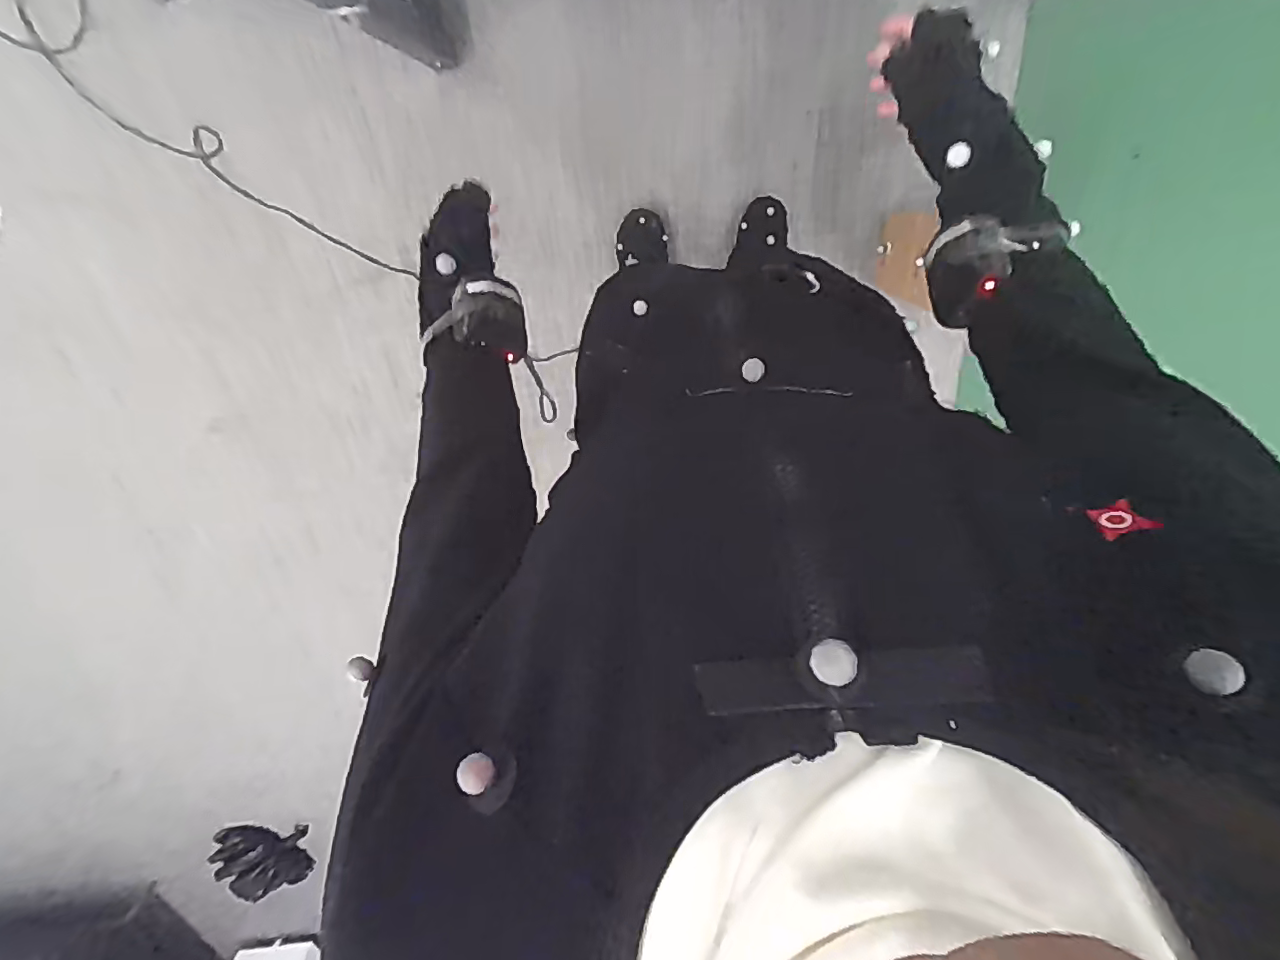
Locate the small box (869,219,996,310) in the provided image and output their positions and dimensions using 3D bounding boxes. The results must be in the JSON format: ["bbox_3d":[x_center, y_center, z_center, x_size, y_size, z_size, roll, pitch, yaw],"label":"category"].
[{"bbox_3d":[0.634,-0.478,1.192,0.179,0.176,0.168,-2,117,2],"label":"small box"}]

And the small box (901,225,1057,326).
[{"bbox_3d":[0.641,-0.400,1.047,0.179,0.176,0.168,-1,117,0],"label":"small box"}]
